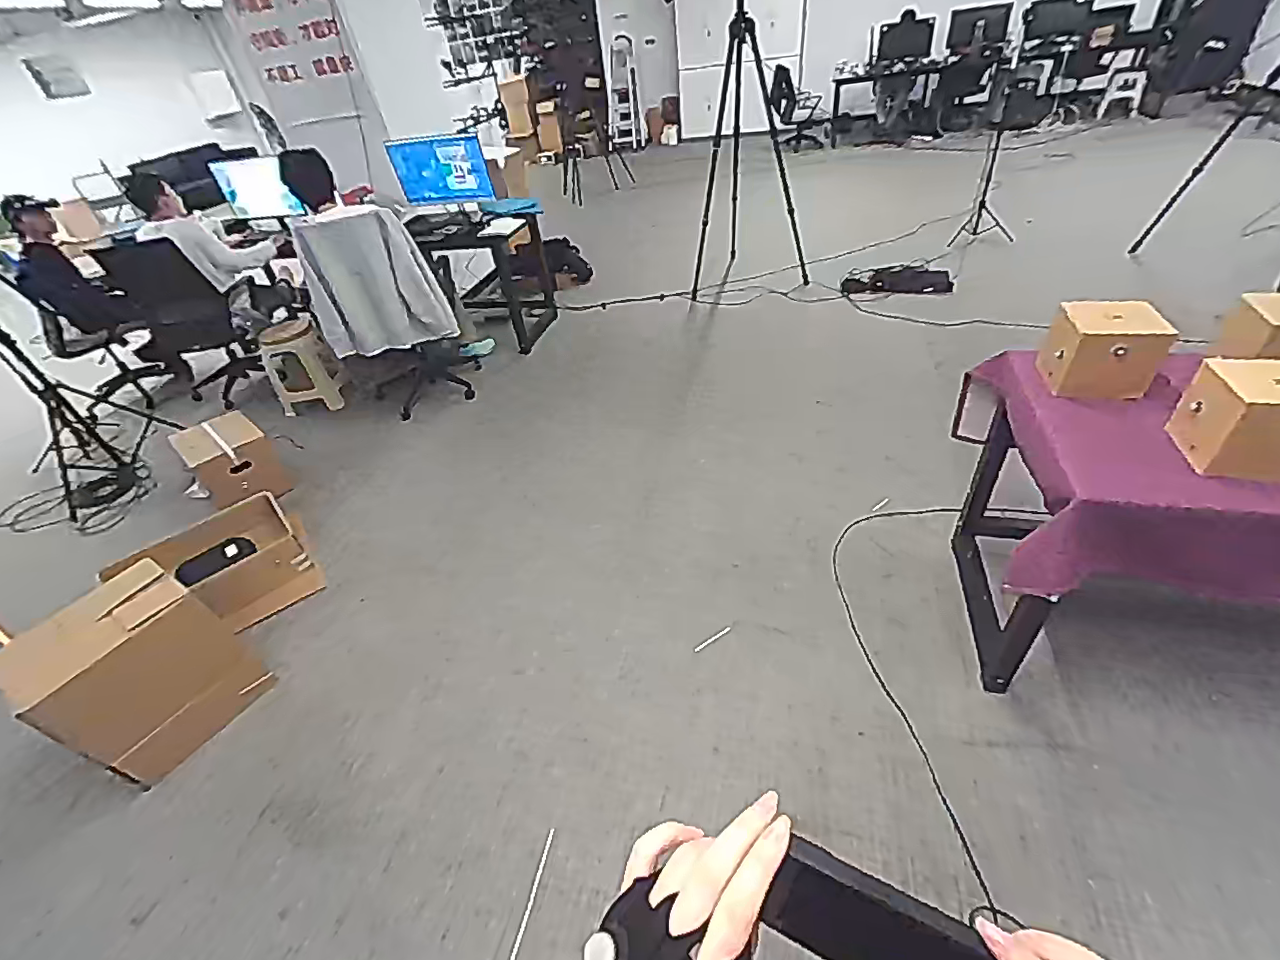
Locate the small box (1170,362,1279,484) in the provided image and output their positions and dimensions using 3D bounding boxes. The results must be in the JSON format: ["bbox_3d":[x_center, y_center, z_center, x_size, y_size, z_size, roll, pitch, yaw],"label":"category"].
[{"bbox_3d":[1.165,-0.108,1.023,0.179,0.176,0.168,6,41,17],"label":"small box"}]
